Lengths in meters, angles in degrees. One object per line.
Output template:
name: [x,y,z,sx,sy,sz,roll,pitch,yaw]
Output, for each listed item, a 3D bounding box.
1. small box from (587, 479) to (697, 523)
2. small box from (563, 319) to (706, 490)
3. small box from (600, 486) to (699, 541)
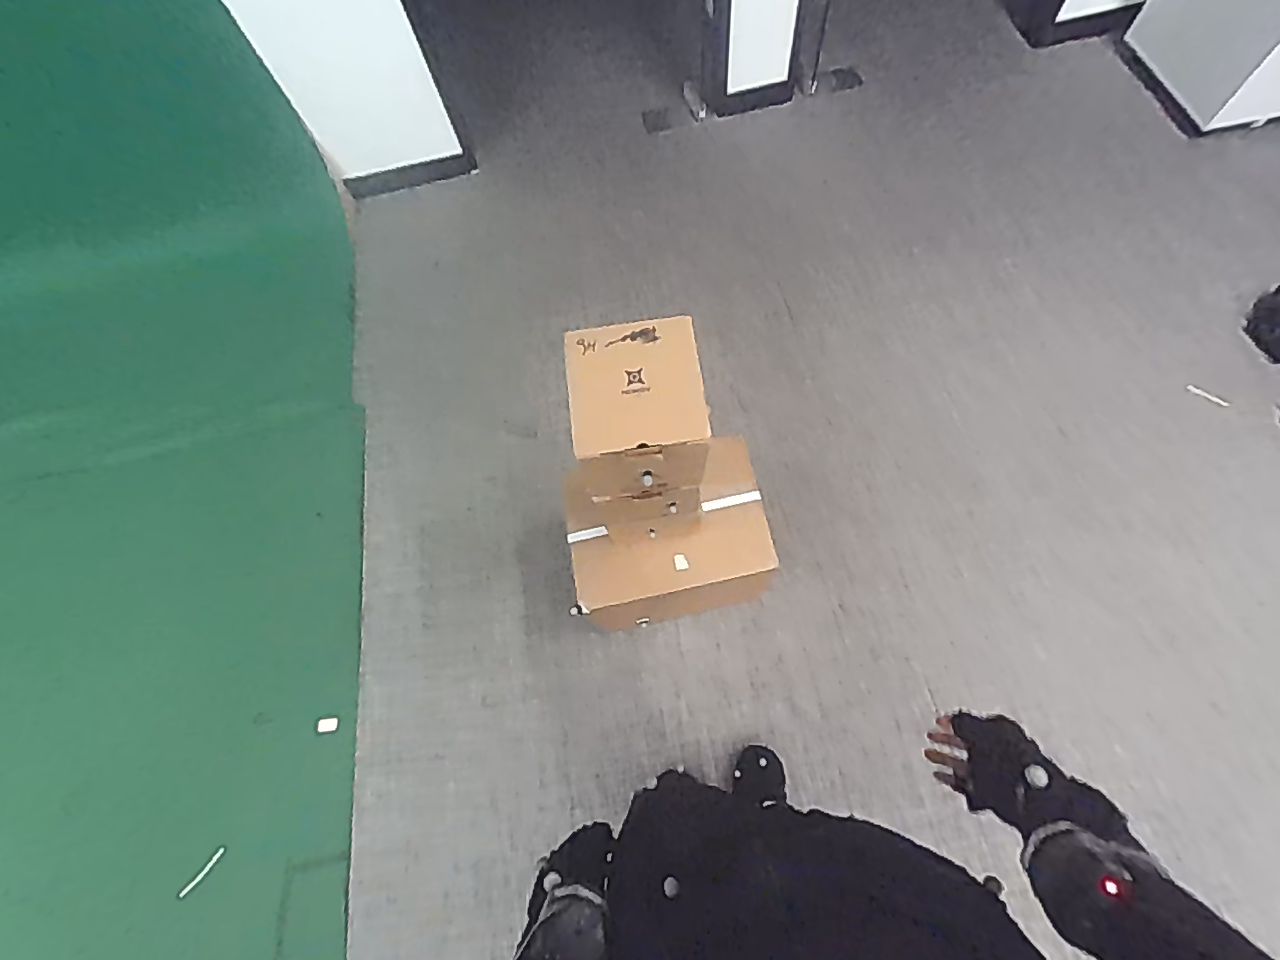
small box: [-0.001,-0.035,0.896,0.168,0.176,0.179,-9,71,0]
small box: [-0.004,-0.091,0.742,0.168,0.176,0.179,-7,73,1]
small box: [0.015,0.017,1.046,0.179,0.176,0.168,-6,71,2]
